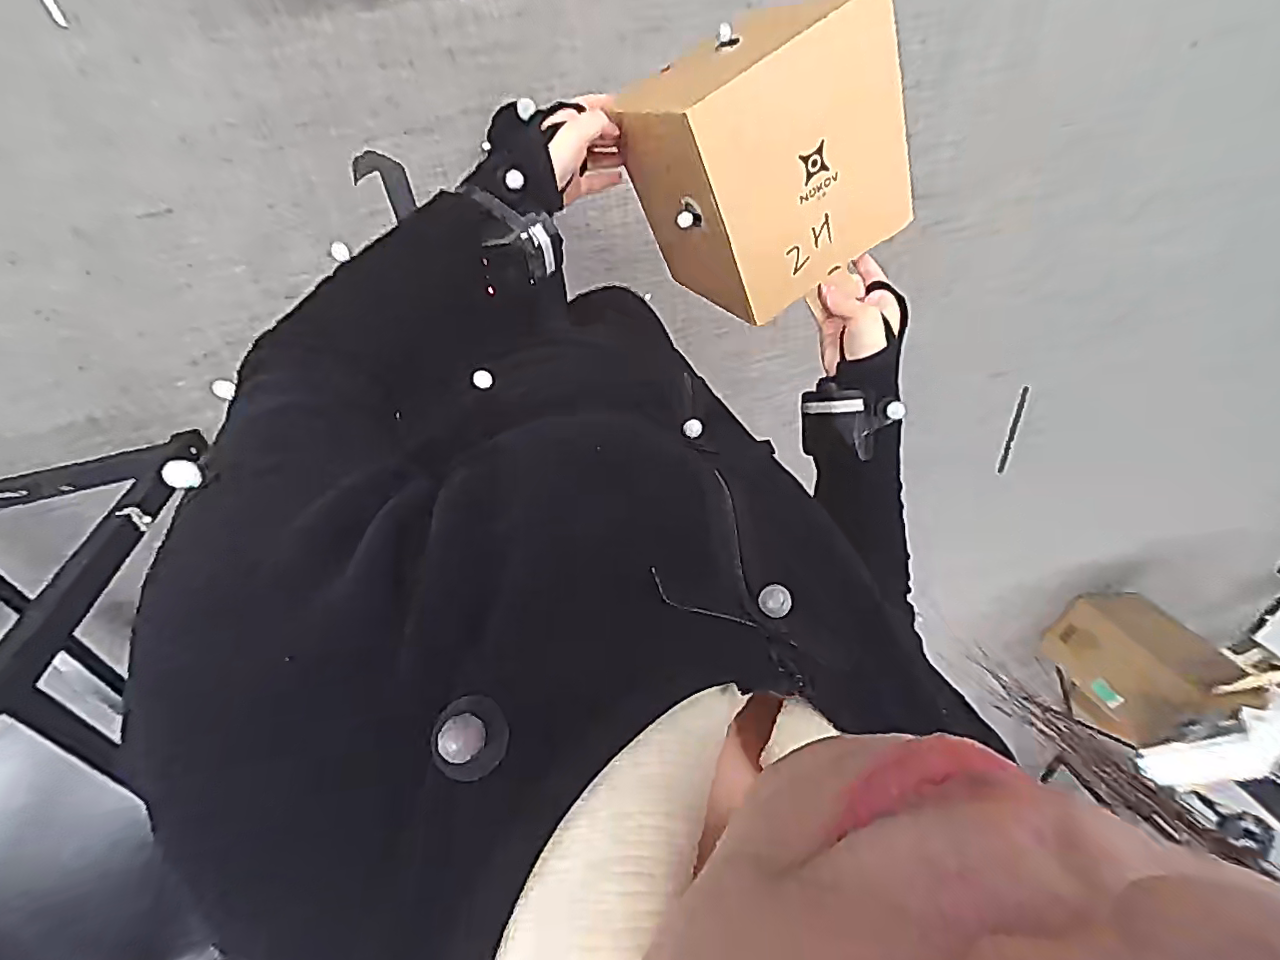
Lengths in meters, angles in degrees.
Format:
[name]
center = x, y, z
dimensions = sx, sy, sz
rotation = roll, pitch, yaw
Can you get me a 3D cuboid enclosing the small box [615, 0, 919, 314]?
[small box]
center = 0.102, -0.276, 0.460
dimensions = 0.168, 0.176, 0.179
rotation = -34, 130, -2
